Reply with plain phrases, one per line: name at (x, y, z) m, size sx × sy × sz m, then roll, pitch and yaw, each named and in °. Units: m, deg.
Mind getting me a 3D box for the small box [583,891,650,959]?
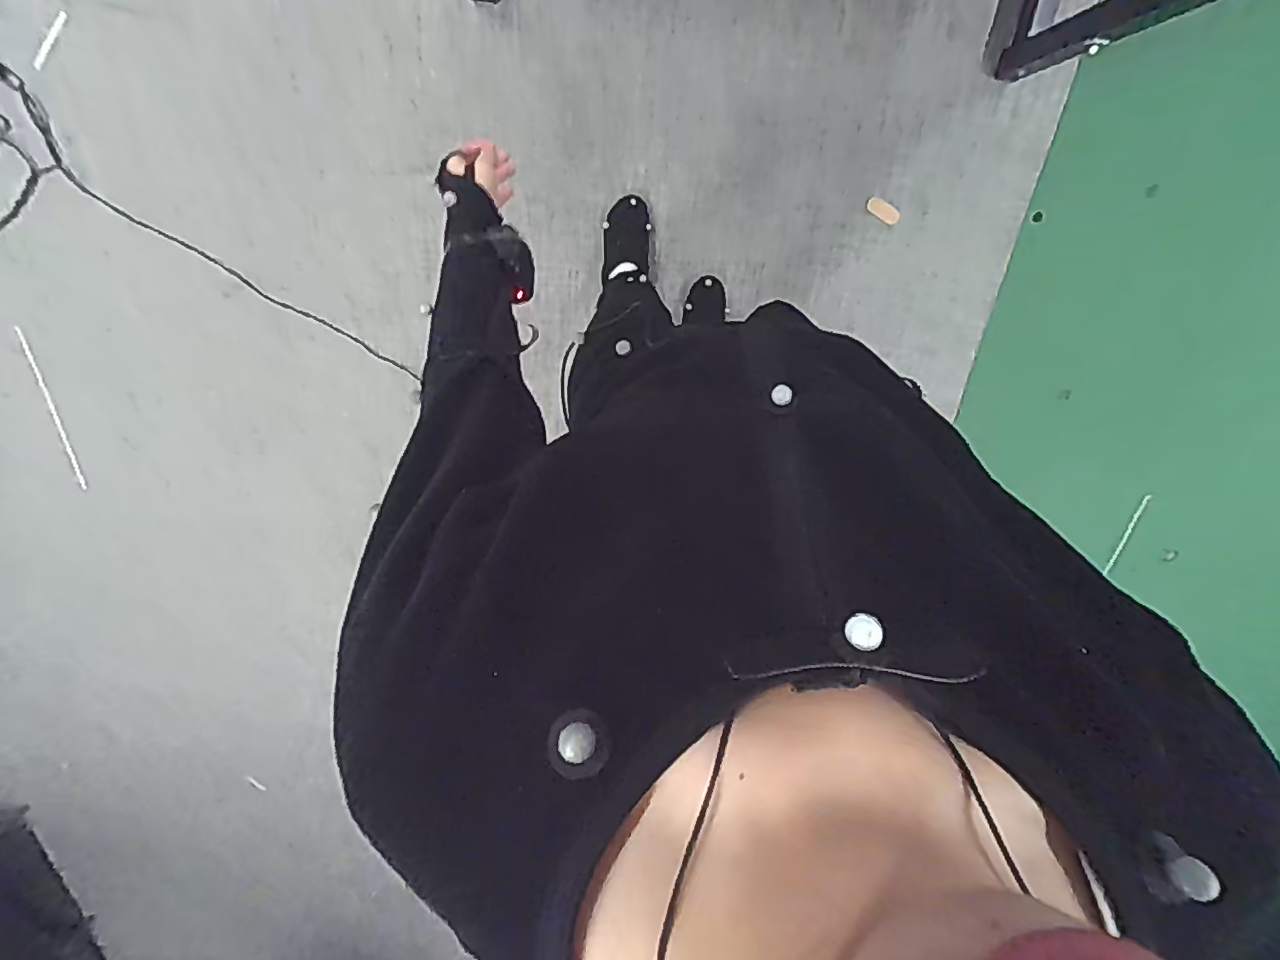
small box at (-0.063, 1.215, 1.414) m, size 0.168 × 0.176 × 0.179 m, roll 2°, pitch 114°, yaw -1°
